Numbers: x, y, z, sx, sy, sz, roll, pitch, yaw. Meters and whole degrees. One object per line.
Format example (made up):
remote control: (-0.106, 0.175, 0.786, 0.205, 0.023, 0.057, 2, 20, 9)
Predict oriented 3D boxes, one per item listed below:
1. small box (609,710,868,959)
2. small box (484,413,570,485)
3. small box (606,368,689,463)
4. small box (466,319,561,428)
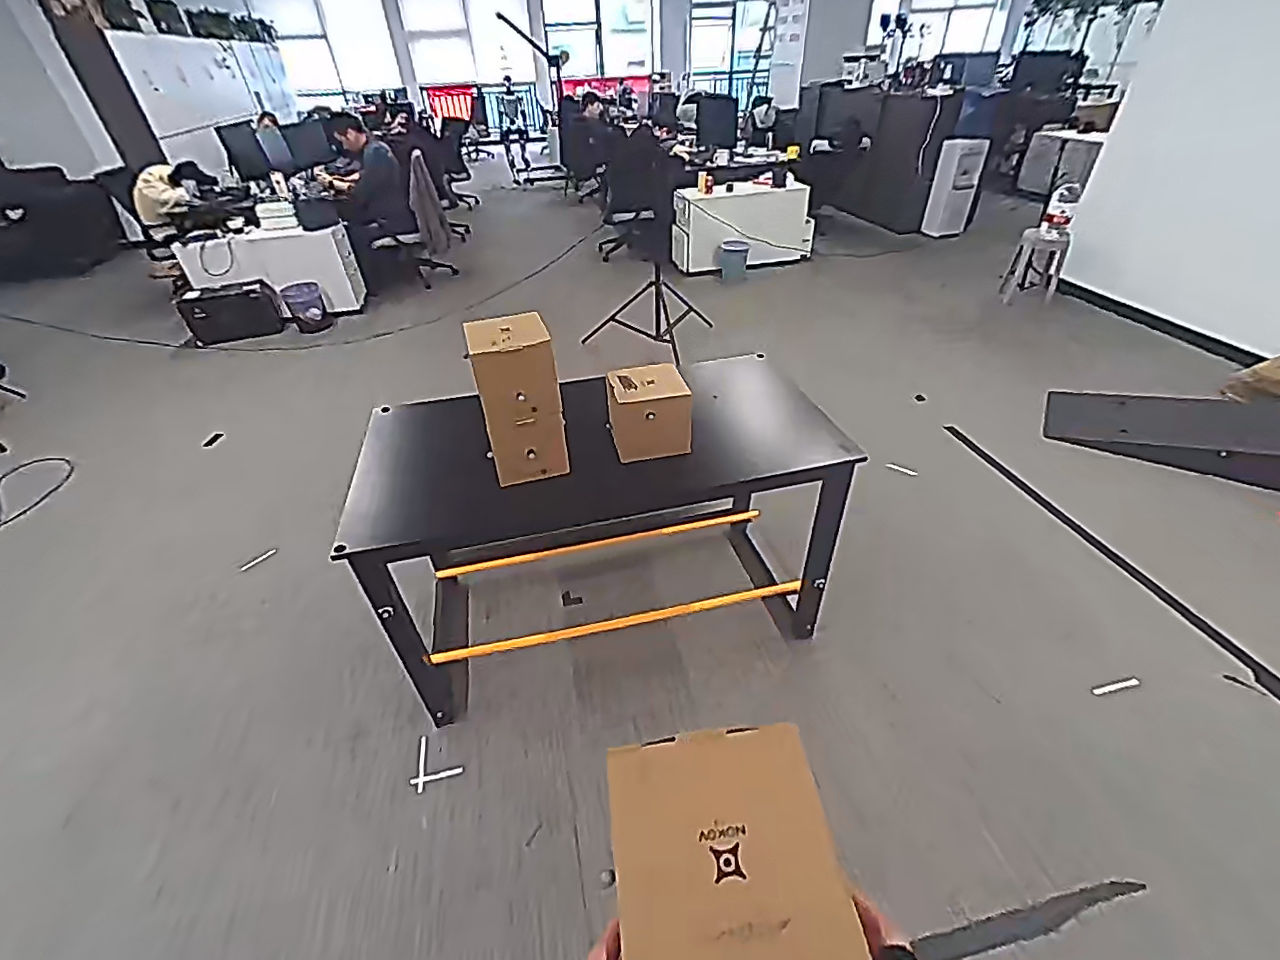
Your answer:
small box: (0.063, 0.327, 0.467, 0.168, 0.176, 0.179, -7, 46, -4)
small box: (-0.271, -0.104, 1.295, 0.168, 0.176, 0.179, -13, 39, -12)
small box: (0.020, -0.158, 1.341, 0.179, 0.176, 0.168, -9, 38, -9)
small box: (-0.280, -0.237, 1.196, 0.168, 0.176, 0.179, -14, 39, -13)
